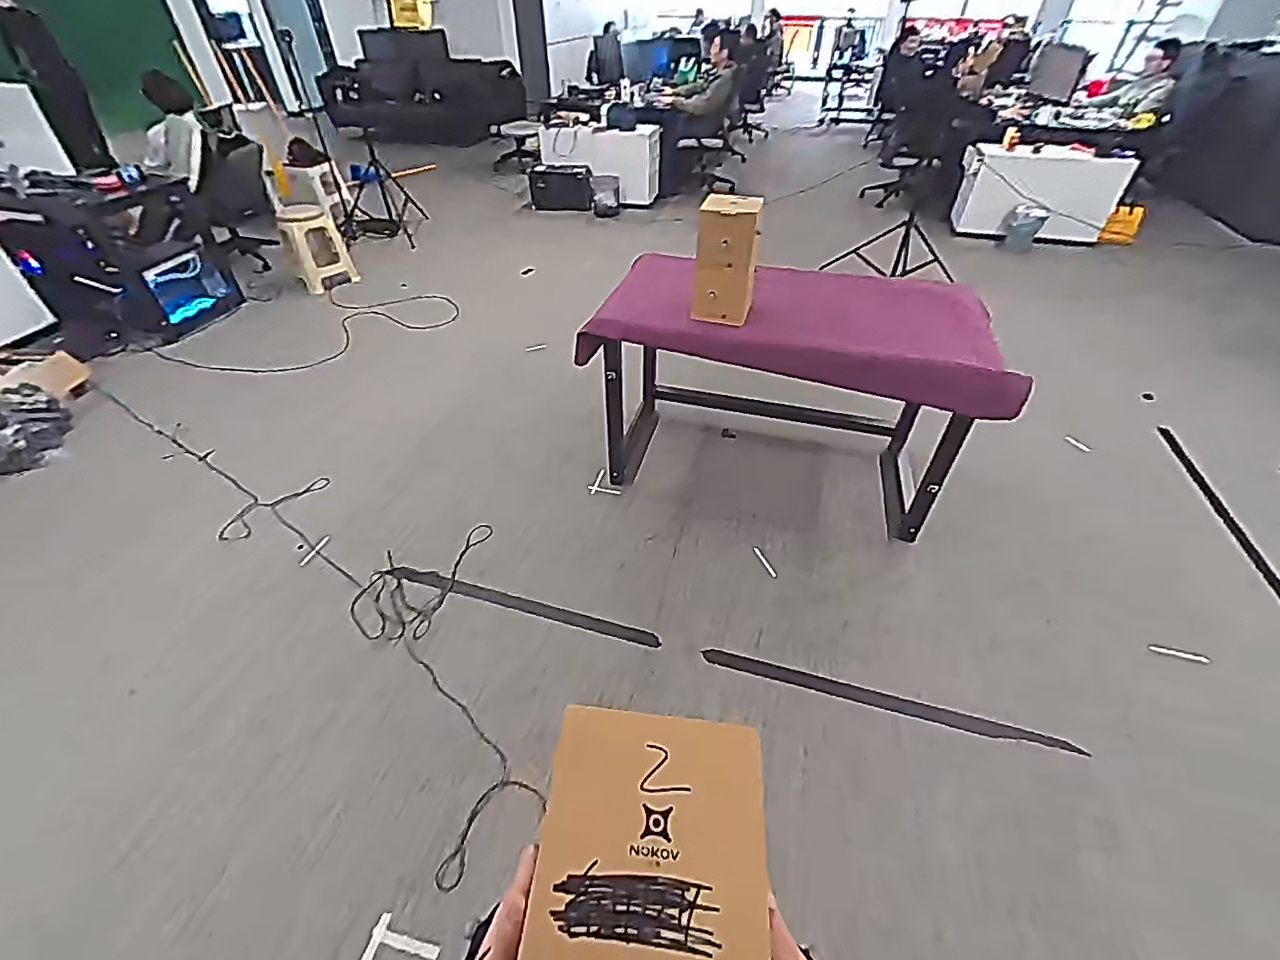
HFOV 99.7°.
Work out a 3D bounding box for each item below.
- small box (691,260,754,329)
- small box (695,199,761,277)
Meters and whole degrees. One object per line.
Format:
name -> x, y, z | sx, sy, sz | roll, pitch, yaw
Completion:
small box -> 0.262, -0.600, 1.730 | 0.168, 0.176, 0.179 | 12, 42, 12
small box -> 0.262, -0.726, 1.626 | 0.168, 0.176, 0.179 | 11, 43, 11
